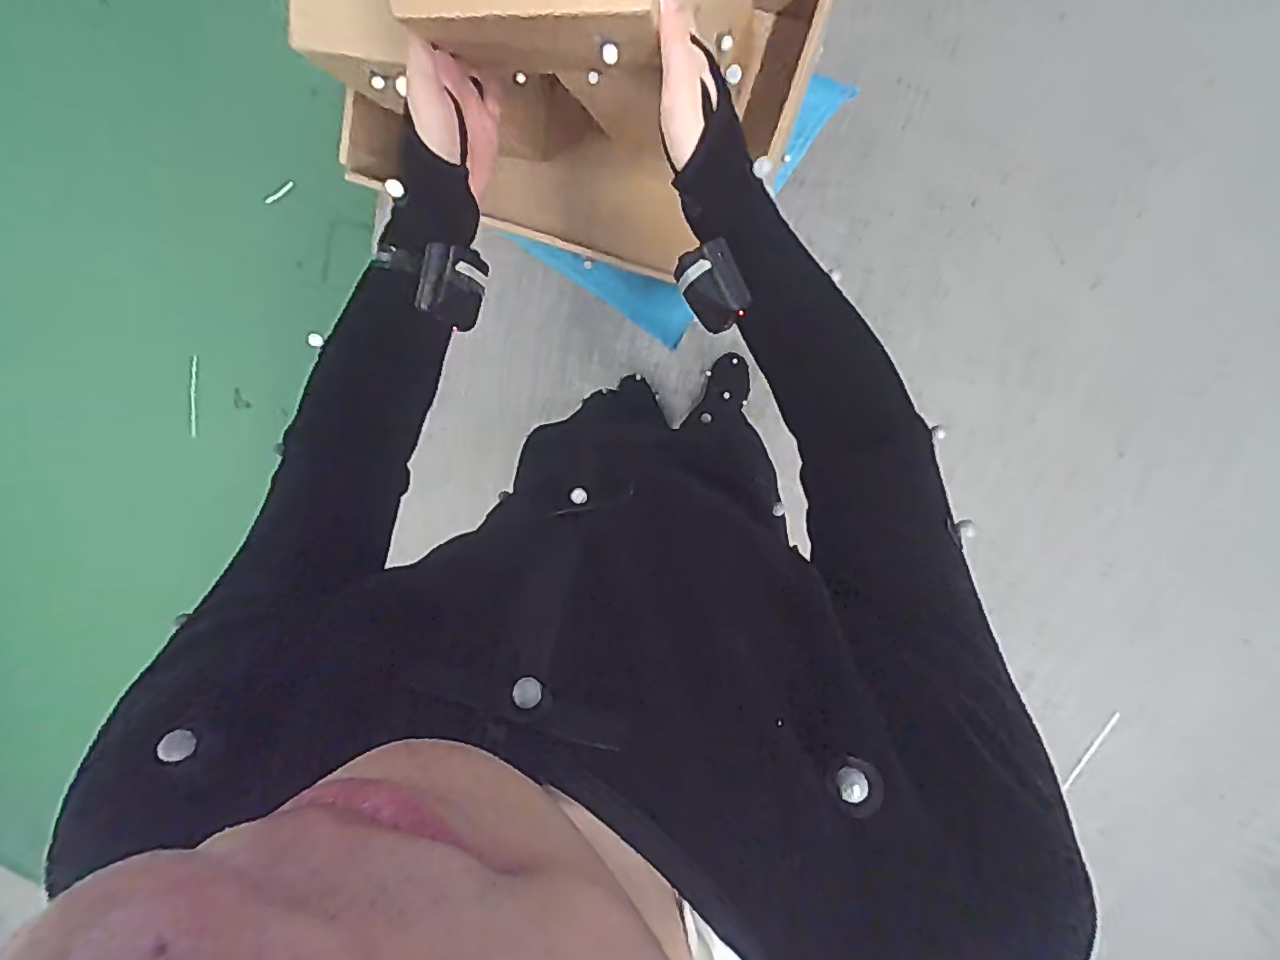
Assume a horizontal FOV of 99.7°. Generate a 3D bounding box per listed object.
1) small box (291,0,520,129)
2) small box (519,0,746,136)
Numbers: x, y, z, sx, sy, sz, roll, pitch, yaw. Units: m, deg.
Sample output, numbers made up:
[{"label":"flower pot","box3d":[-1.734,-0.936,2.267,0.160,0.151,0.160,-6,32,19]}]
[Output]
[{"label":"small box","box3d":[-0.265,-0.540,0.631,0.179,0.176,0.168,15,107,8]},{"label":"small box","box3d":[0.002,-0.505,0.581,0.179,0.176,0.168,23,108,6]}]
